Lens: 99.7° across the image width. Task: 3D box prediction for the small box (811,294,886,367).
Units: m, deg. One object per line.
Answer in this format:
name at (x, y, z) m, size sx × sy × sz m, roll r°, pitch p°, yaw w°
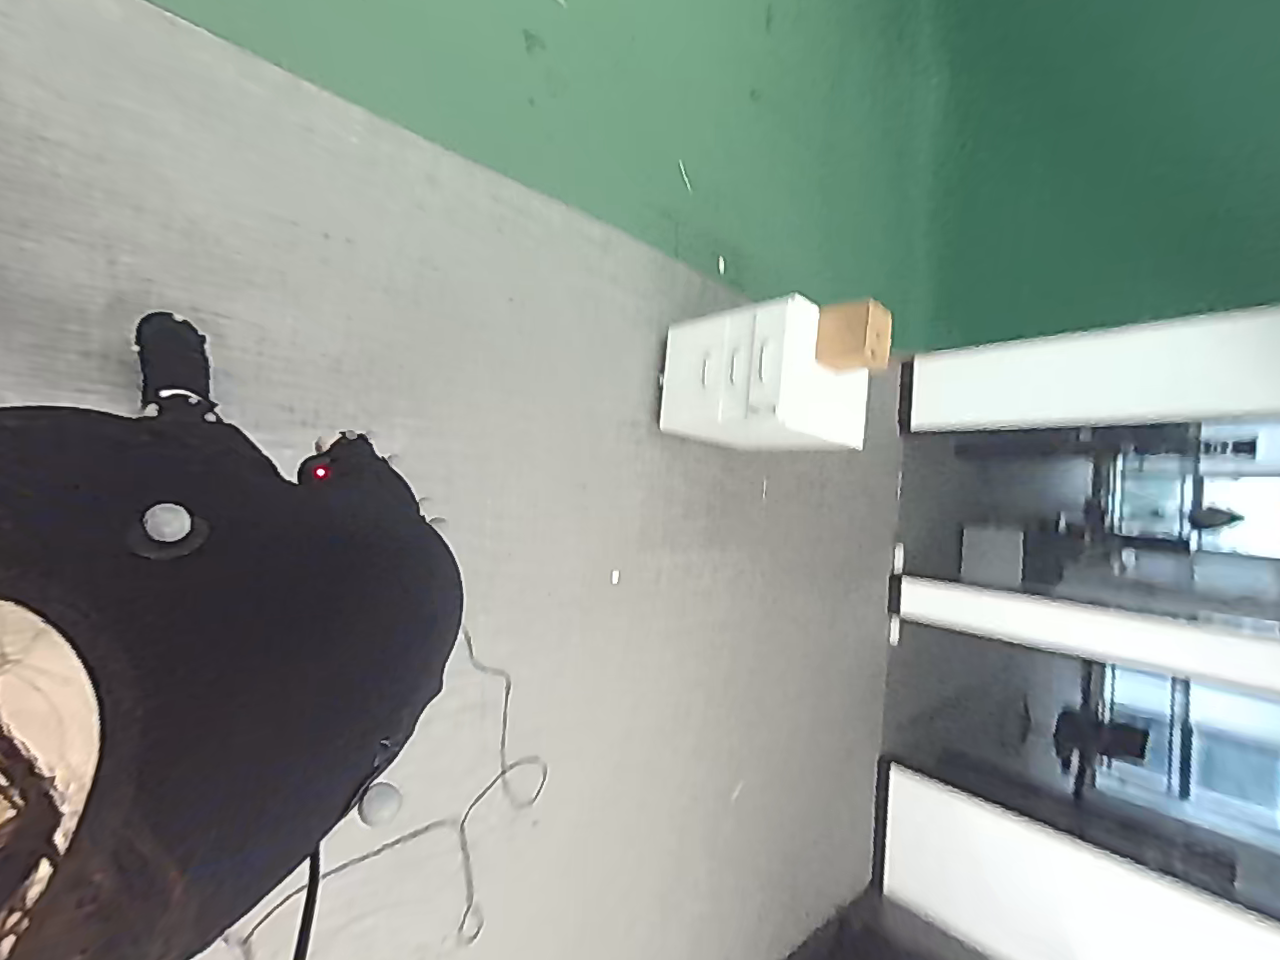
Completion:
small box at (0.668, -0.473, 1.736) m, size 0.168 × 0.176 × 0.179 m, roll 6°, pitch 89°, yaw -42°
